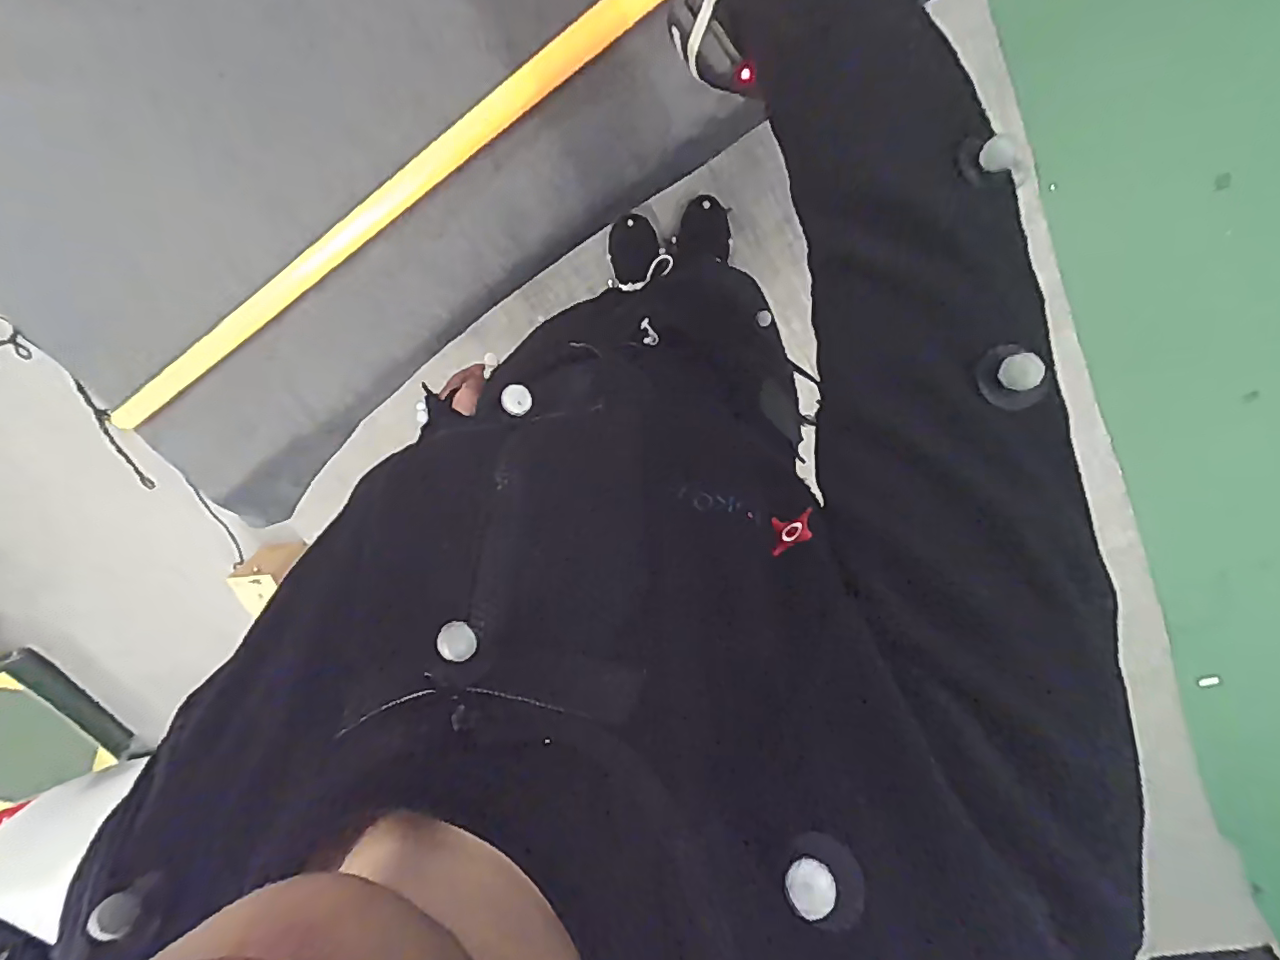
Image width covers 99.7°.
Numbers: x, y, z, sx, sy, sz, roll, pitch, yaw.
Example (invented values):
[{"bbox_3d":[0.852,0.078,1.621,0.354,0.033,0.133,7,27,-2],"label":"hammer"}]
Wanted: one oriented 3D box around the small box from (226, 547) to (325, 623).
[{"bbox_3d":[-1.164,0.336,1.745,0.168,0.176,0.179,-6,119,11],"label":"small box"}]
